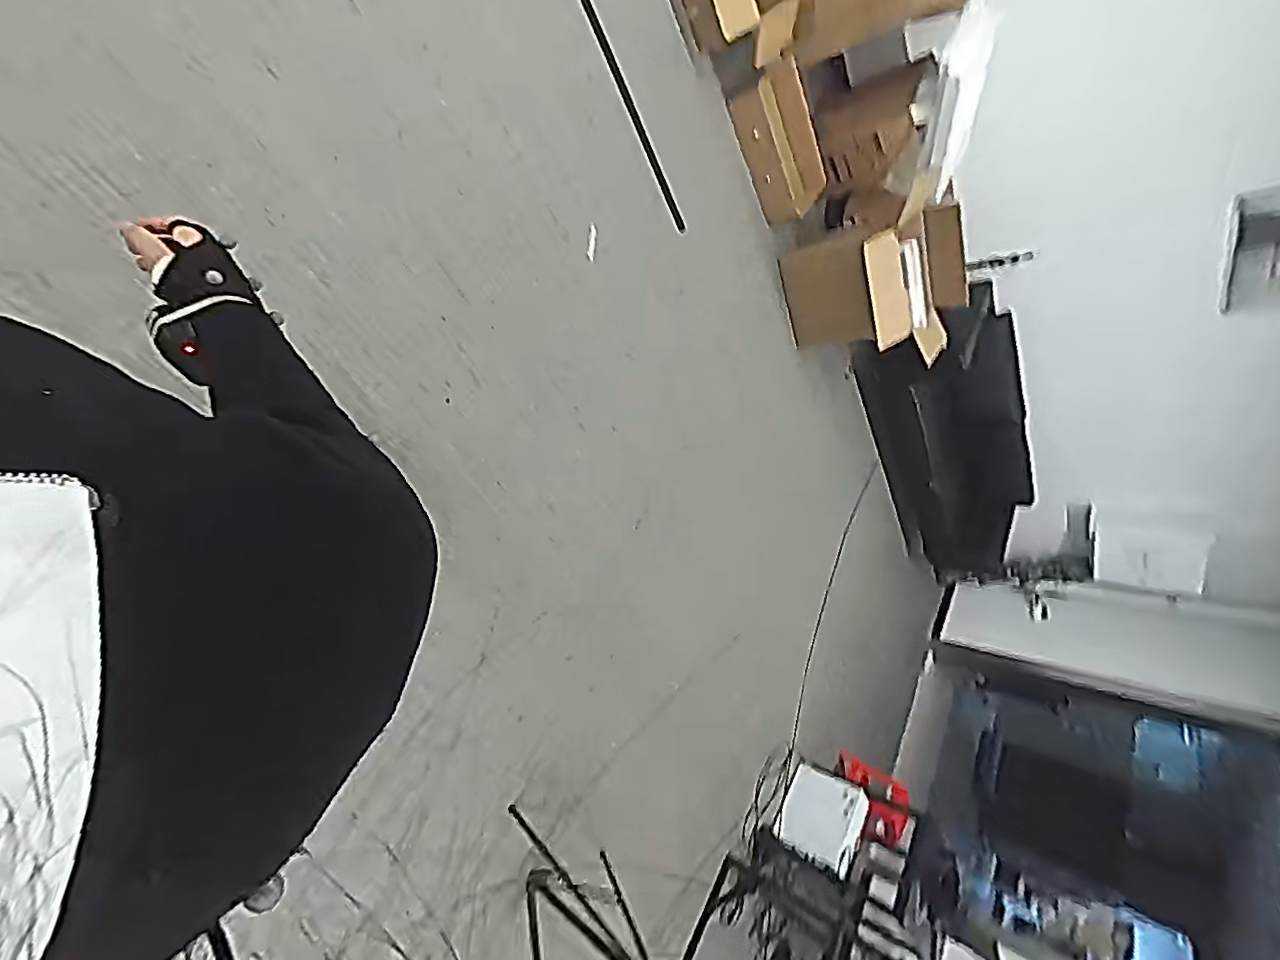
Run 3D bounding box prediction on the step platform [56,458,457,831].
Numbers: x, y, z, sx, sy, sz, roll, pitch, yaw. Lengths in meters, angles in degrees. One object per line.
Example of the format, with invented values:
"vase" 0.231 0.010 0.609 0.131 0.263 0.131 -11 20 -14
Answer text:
"step platform" -0.697 0.277 1.073 0.684 0.204 0.286 -55 130 -28
